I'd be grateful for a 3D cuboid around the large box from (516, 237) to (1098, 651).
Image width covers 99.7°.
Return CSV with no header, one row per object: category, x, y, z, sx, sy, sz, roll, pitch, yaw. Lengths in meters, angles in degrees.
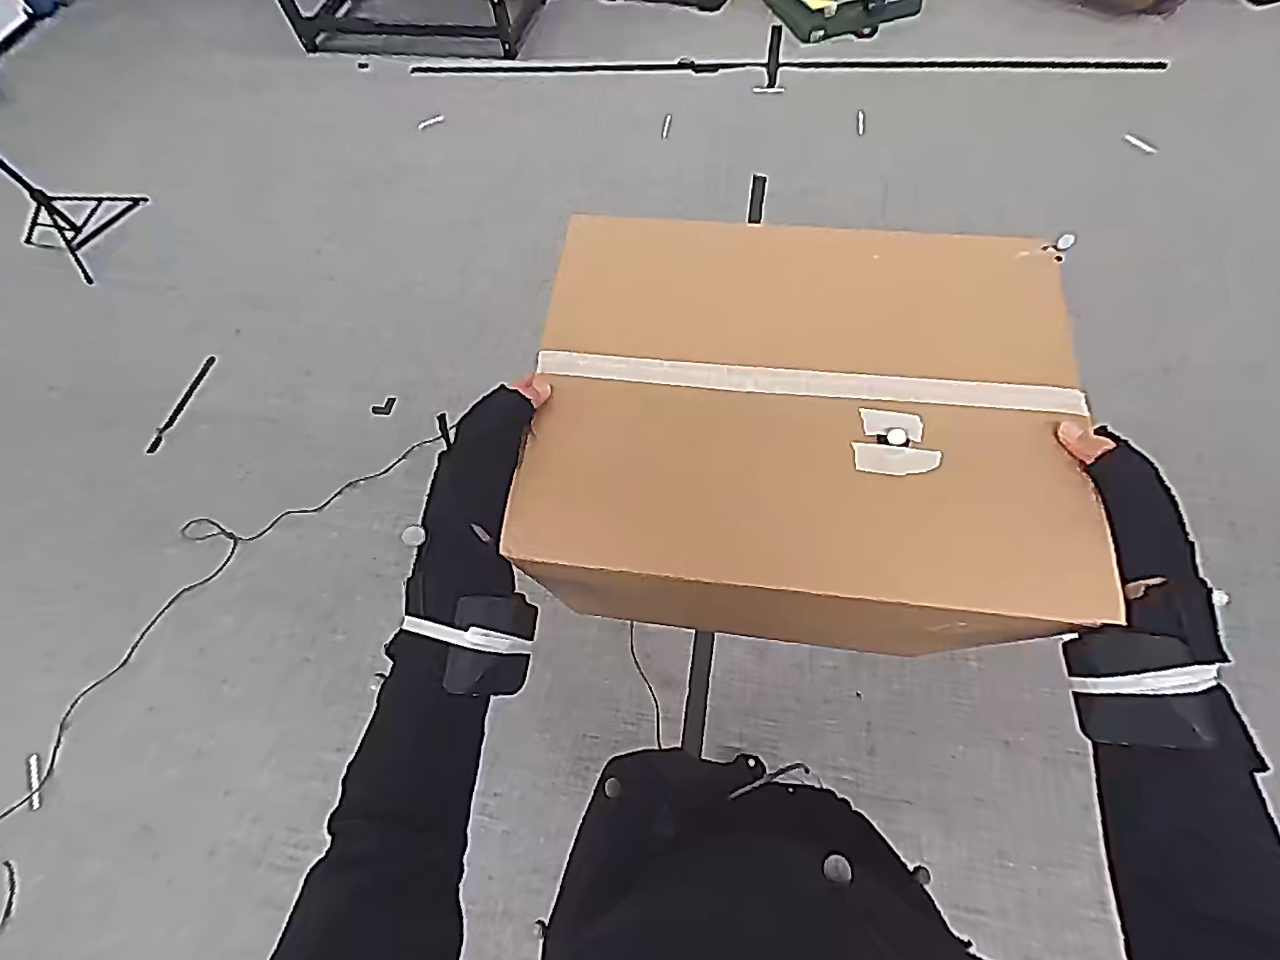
large box,0.127,-0.011,0.561,0.408,0.320,0.320,6,70,5
